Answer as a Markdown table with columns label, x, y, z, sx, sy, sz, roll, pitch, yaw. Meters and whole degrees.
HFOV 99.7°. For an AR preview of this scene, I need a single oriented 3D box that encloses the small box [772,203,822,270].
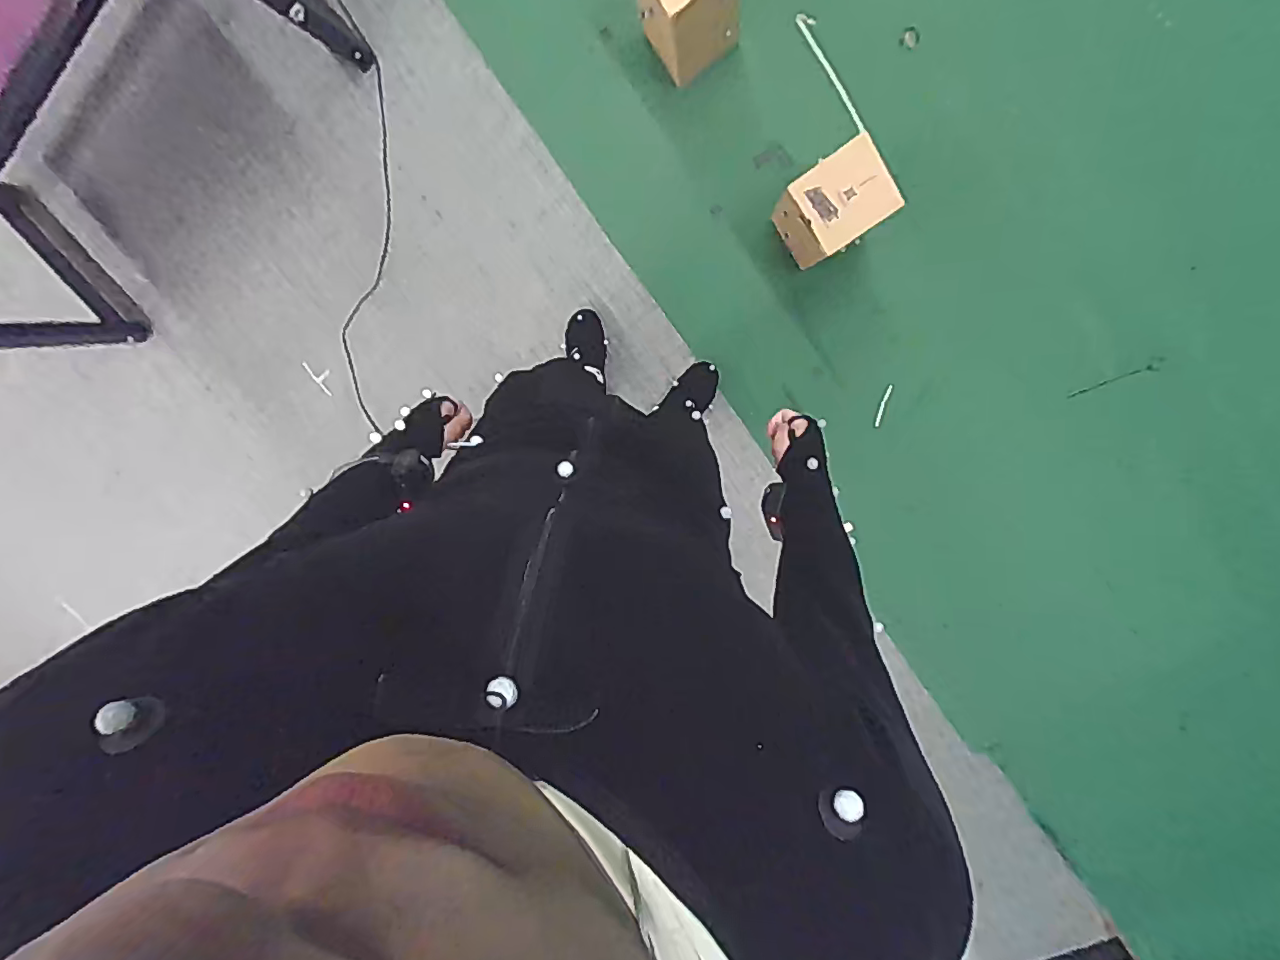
| label | x | y | z | sx | sy | sz | roll | pitch | yaw |
| --- | --- | --- | --- | --- | --- | --- | --- | --- | --- |
| small box | 0.442 | -0.636 | 1.318 | 0.179 | 0.176 | 0.168 | -33 | 100 | 16 |

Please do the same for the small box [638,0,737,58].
| label | x | y | z | sx | sy | sz | roll | pitch | yaw |
| --- | --- | --- | --- | --- | --- | --- | --- | --- | --- |
| small box | 0.091 | -1.011 | 1.082 | 0.179 | 0.176 | 0.168 | -32 | 99 | 15 |

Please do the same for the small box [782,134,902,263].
| label | x | y | z | sx | sy | sz | roll | pitch | yaw |
| --- | --- | --- | --- | --- | --- | --- | --- | --- | --- |
| small box | 0.421 | -0.589 | 1.162 | 0.179 | 0.176 | 0.168 | -32 | 101 | 15 |
